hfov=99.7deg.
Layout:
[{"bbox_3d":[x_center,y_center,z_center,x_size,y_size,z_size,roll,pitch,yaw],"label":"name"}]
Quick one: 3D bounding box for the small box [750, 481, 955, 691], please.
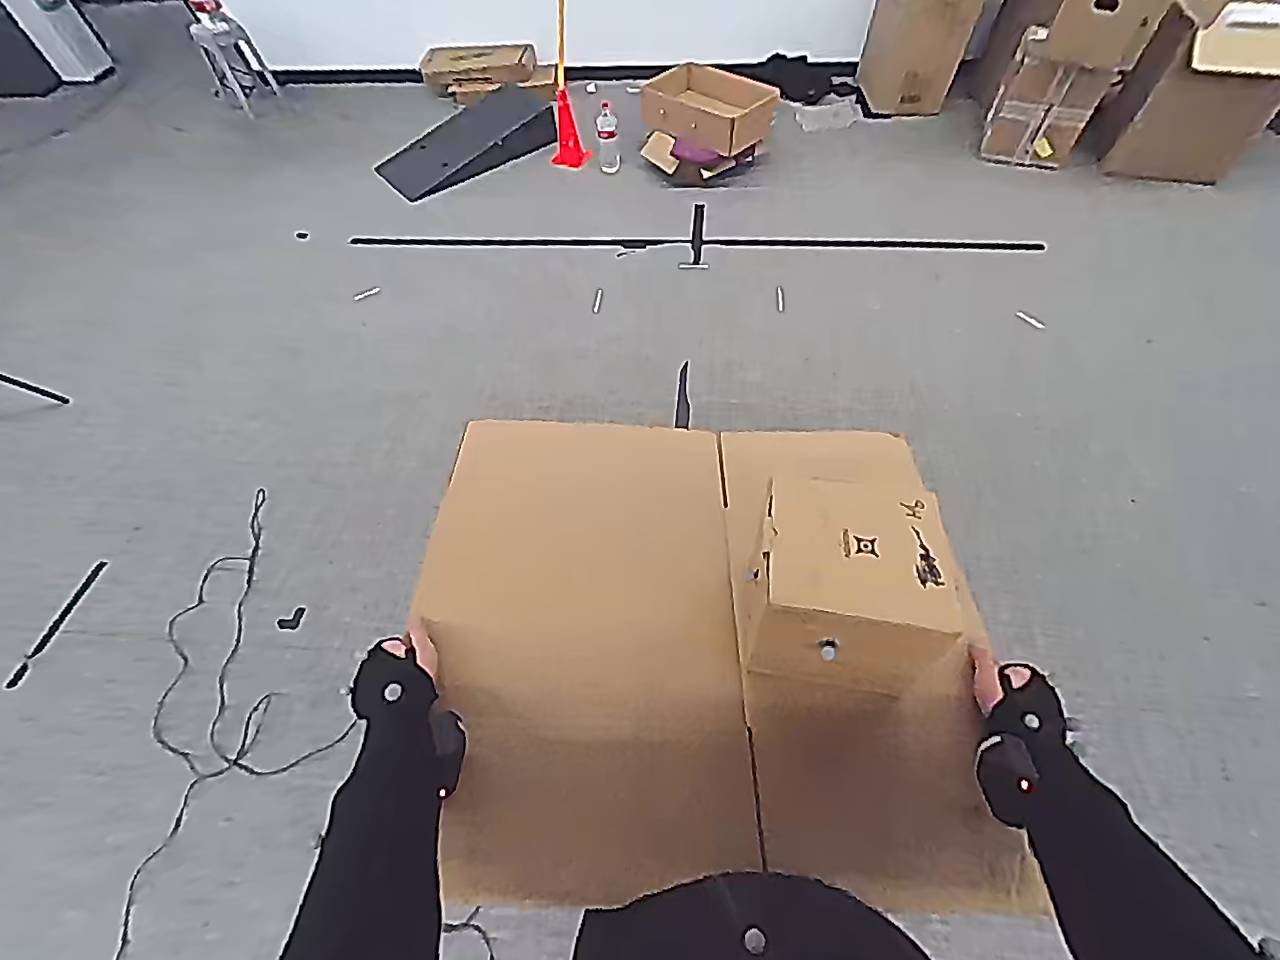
[{"bbox_3d":[0.223,0.123,0.615,0.179,0.176,0.168,6,51,9],"label":"small box"}]
